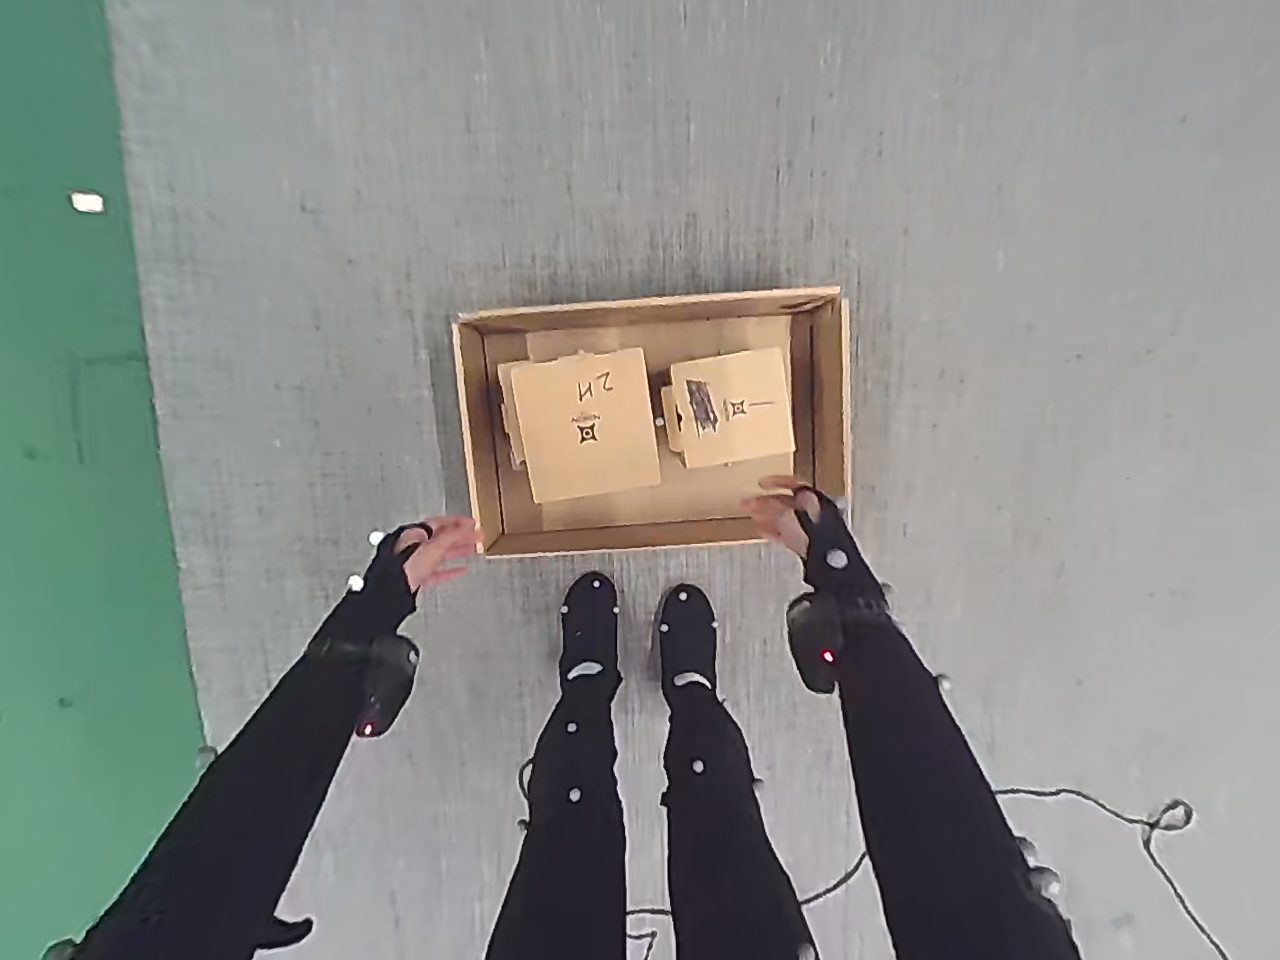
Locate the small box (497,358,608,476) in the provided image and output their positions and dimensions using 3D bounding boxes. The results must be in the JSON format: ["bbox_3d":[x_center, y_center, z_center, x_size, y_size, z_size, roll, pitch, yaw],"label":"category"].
[{"bbox_3d":[-0.123,-0.107,0.907,0.179,0.176,0.168,-8,99,-1],"label":"small box"}]

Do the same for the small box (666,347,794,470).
[{"bbox_3d":[0.141,-0.118,0.907,0.179,0.176,0.168,-11,98,1],"label":"small box"}]

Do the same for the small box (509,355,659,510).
[{"bbox_3d":[-0.070,-0.070,0.749,0.168,0.176,0.179,-10,99,-1],"label":"small box"}]
